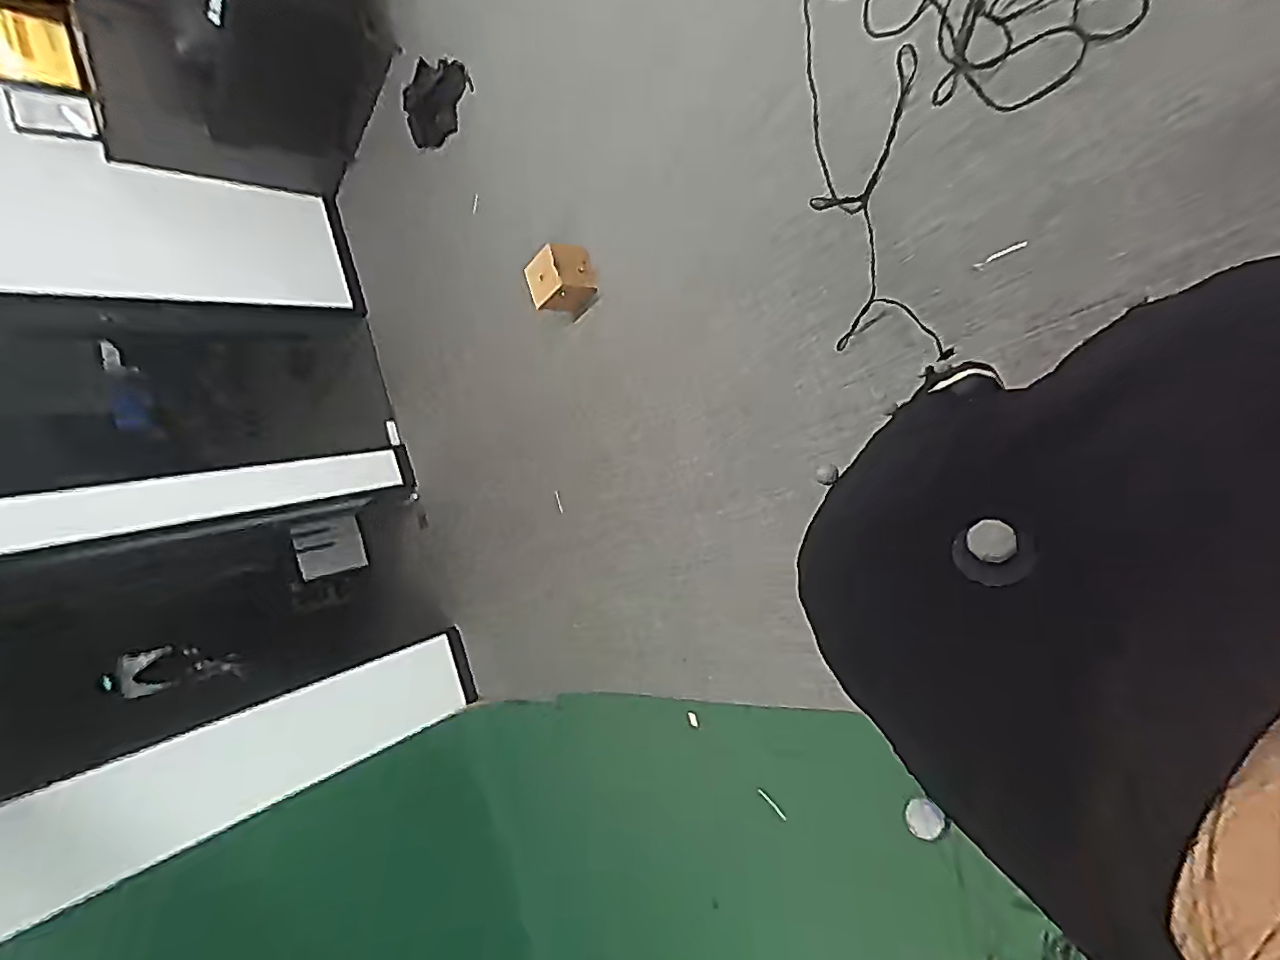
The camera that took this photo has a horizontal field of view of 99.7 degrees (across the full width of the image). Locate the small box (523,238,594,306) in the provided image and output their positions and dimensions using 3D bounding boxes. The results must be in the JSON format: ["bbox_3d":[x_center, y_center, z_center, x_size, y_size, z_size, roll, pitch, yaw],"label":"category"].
[{"bbox_3d":[-0.299,-0.757,1.989,0.179,0.176,0.168,-24,82,45],"label":"small box"}]
